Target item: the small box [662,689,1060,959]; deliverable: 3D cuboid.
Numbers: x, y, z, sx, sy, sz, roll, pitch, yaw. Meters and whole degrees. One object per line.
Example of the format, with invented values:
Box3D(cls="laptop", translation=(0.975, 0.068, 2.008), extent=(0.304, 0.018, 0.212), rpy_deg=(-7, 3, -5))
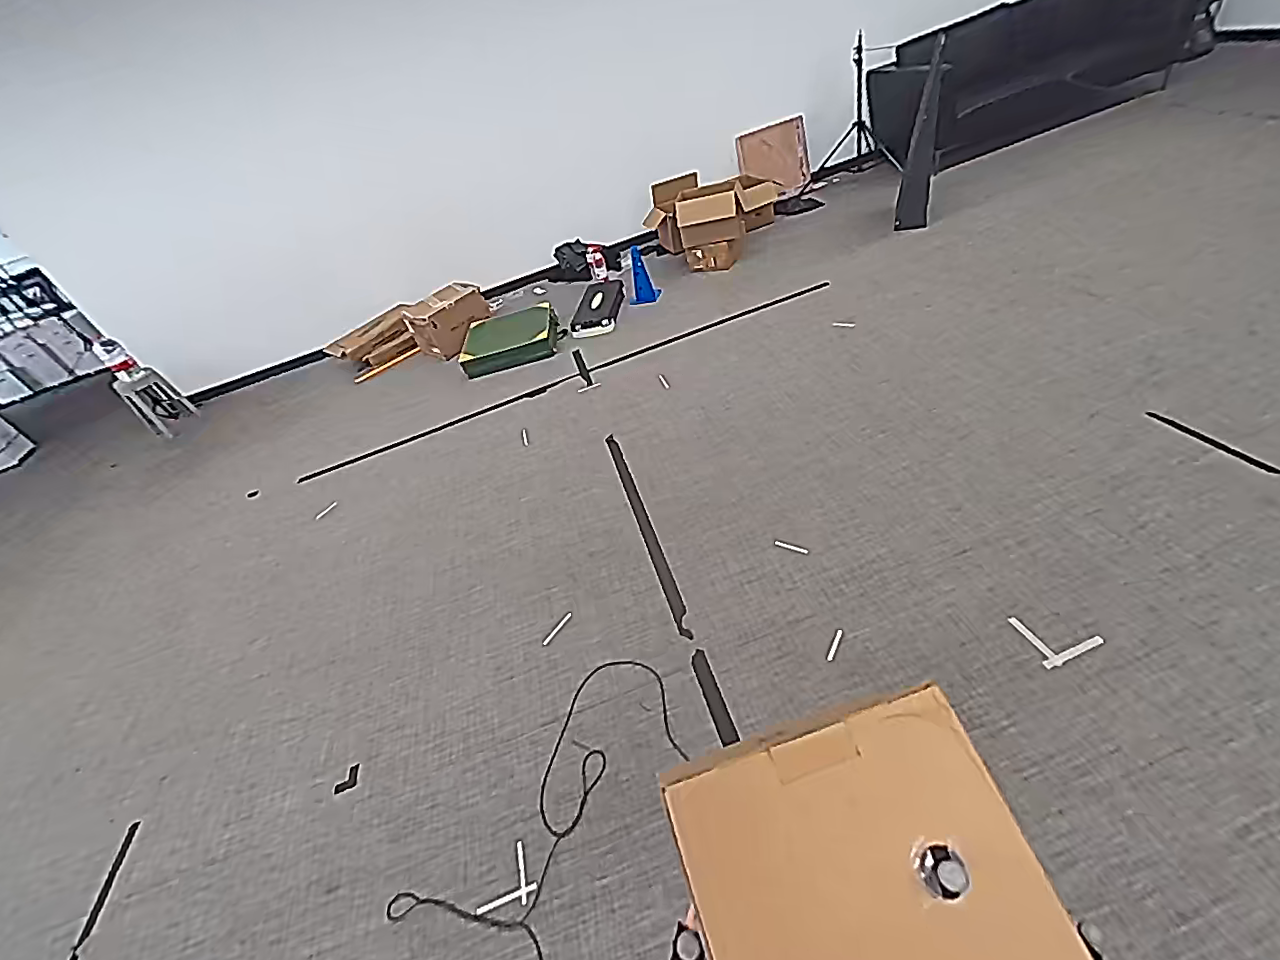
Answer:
Box3D(cls="small box", translation=(0.119, 0.253, 0.345), extent=(0.168, 0.179, 0.176), rpy_deg=(-17, 64, -7))
